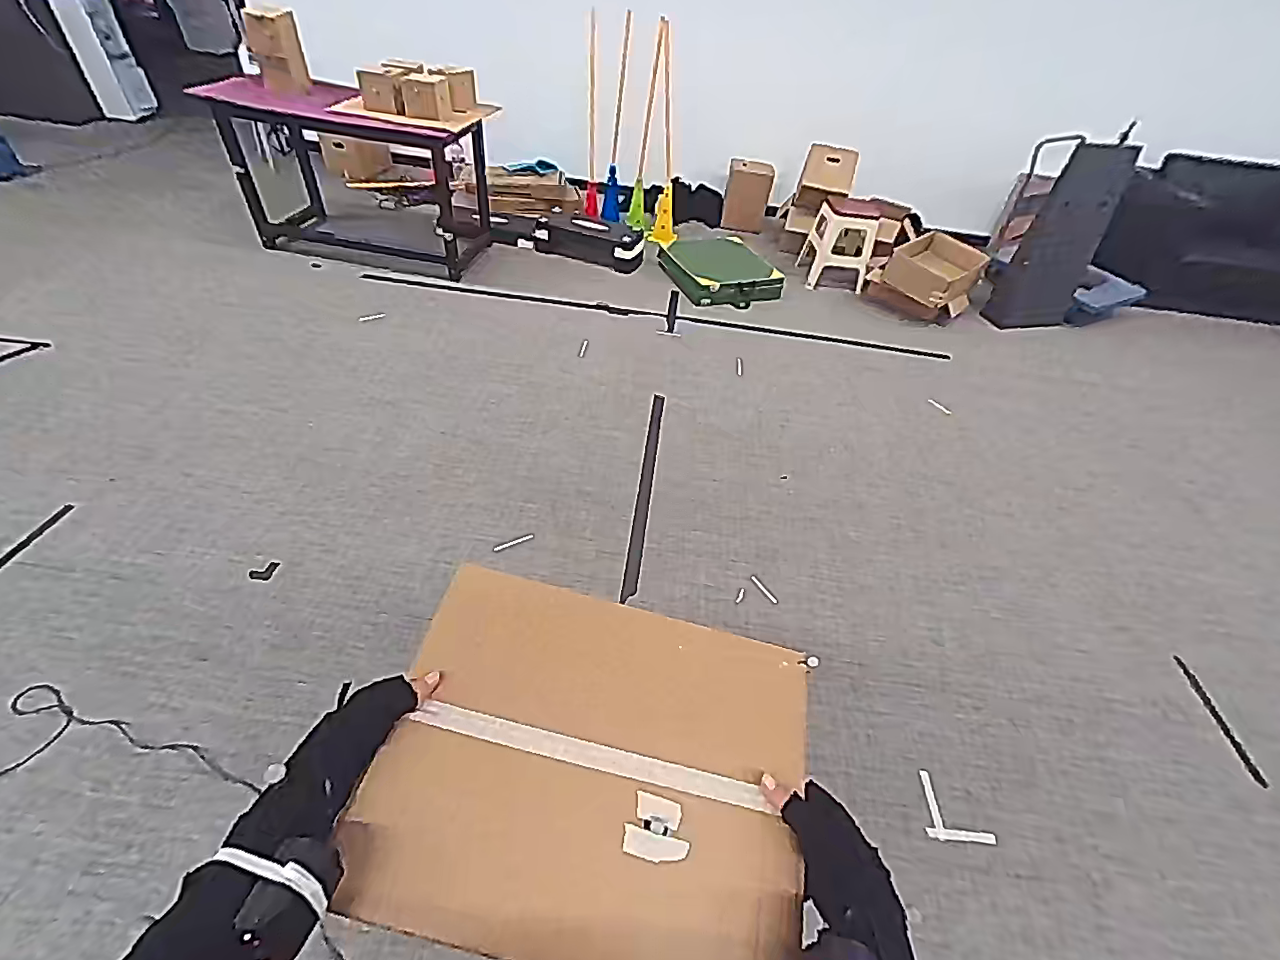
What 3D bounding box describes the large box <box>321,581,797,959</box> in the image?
[{"bbox_3d":[-0.065,0.364,0.644,0.408,0.320,0.320,15,53,0],"label":"large box"}]
